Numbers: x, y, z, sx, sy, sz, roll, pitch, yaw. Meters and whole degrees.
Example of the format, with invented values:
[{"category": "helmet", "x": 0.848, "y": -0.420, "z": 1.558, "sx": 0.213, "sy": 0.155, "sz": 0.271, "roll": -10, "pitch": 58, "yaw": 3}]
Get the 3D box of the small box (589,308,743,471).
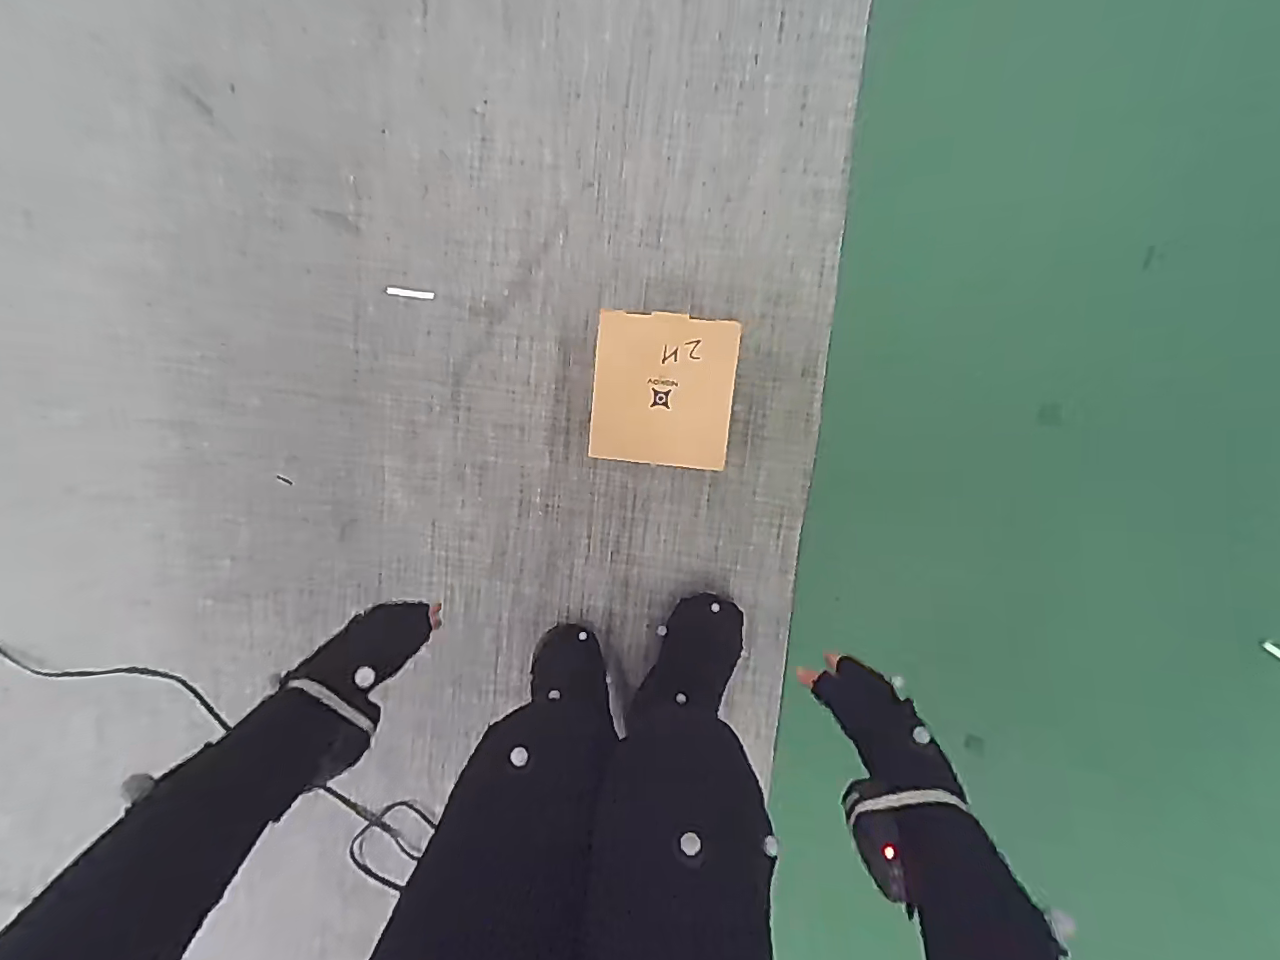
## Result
[{"category": "small box", "x": 0.034, "y": -0.116, "z": 0.708, "sx": 0.168, "sy": 0.176, "sz": 0.179, "roll": 6, "pitch": 98, "yaw": 3}]
